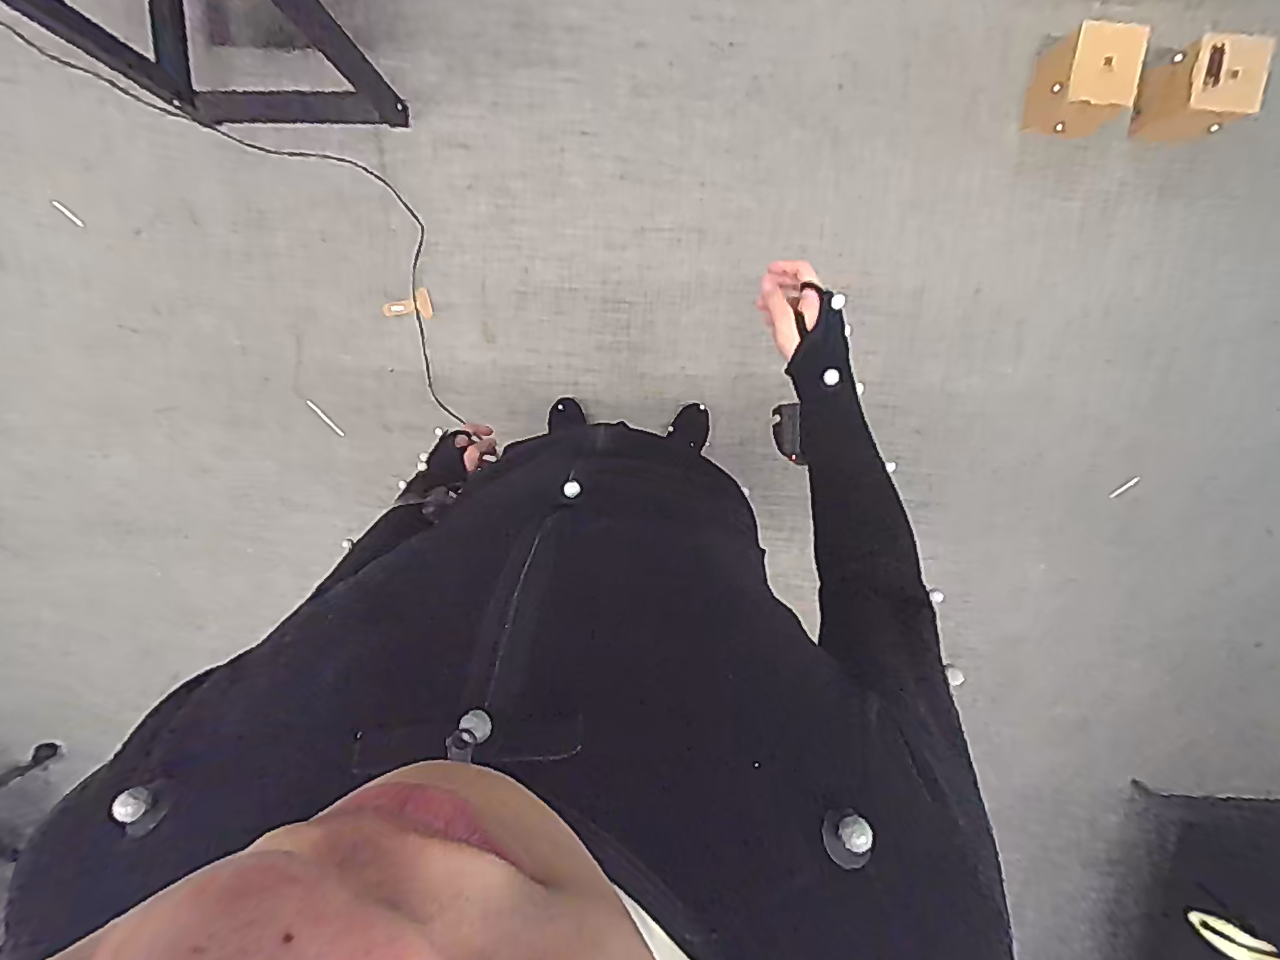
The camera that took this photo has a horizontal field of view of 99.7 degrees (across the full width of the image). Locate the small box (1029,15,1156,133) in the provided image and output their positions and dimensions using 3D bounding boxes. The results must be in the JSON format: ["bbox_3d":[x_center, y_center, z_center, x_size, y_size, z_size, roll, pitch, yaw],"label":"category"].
[{"bbox_3d":[1.126,-1.013,1.361,0.168,0.176,0.179,5,100,1],"label":"small box"}]
